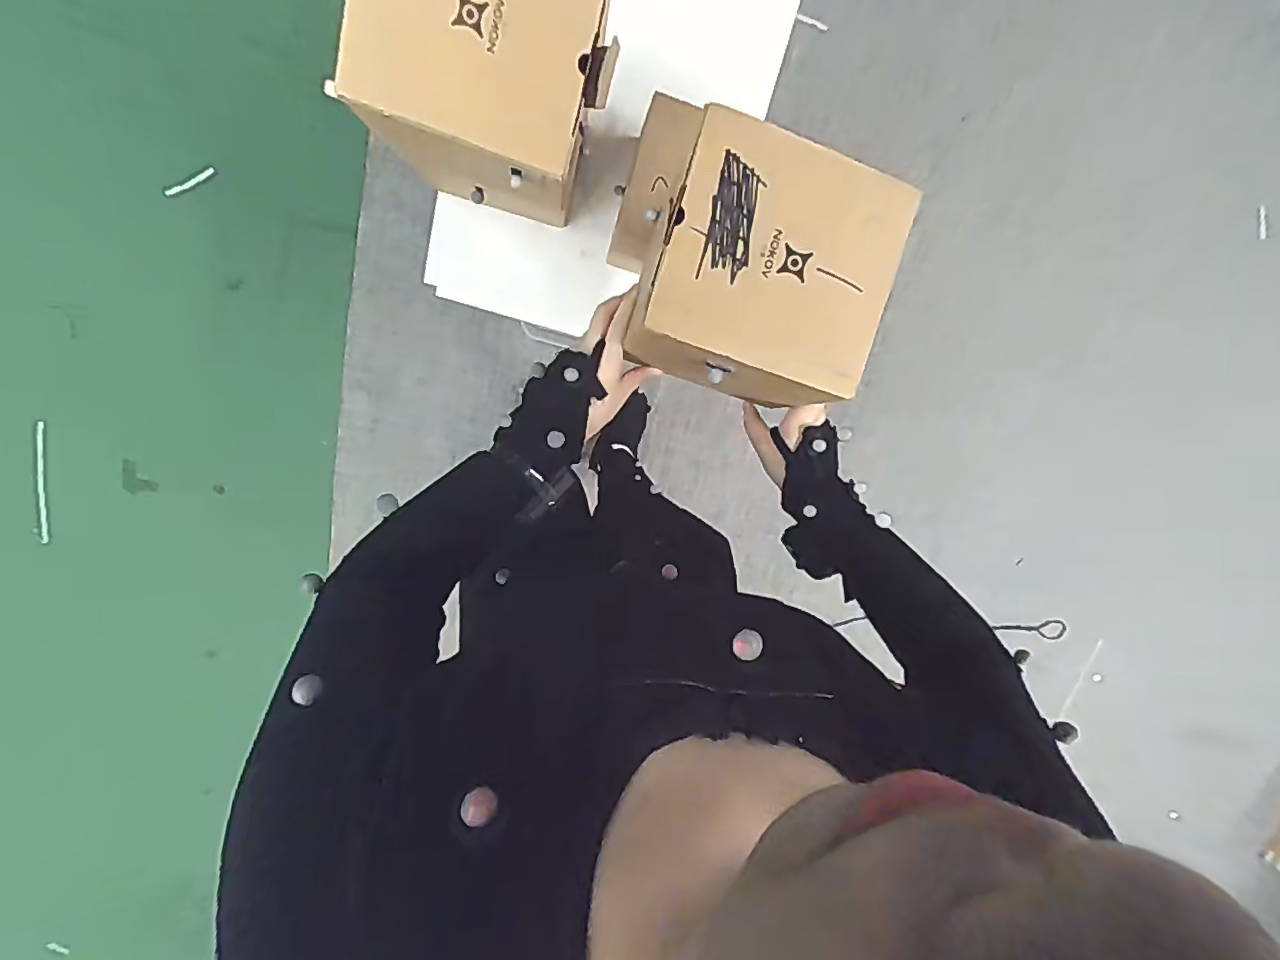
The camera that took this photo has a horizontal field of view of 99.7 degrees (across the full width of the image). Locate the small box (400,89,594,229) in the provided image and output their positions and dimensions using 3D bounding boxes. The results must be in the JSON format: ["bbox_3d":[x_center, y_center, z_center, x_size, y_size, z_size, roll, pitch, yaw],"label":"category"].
[{"bbox_3d":[-0.156,-0.410,0.631,0.179,0.176,0.168,12,104,-12],"label":"small box"}]

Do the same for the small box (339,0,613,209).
[{"bbox_3d":[-0.132,-0.361,0.477,0.179,0.176,0.168,14,103,-14],"label":"small box"}]

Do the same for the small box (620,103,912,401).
[{"bbox_3d":[0.091,-0.173,0.479,0.179,0.176,0.168,17,92,-11],"label":"small box"}]
